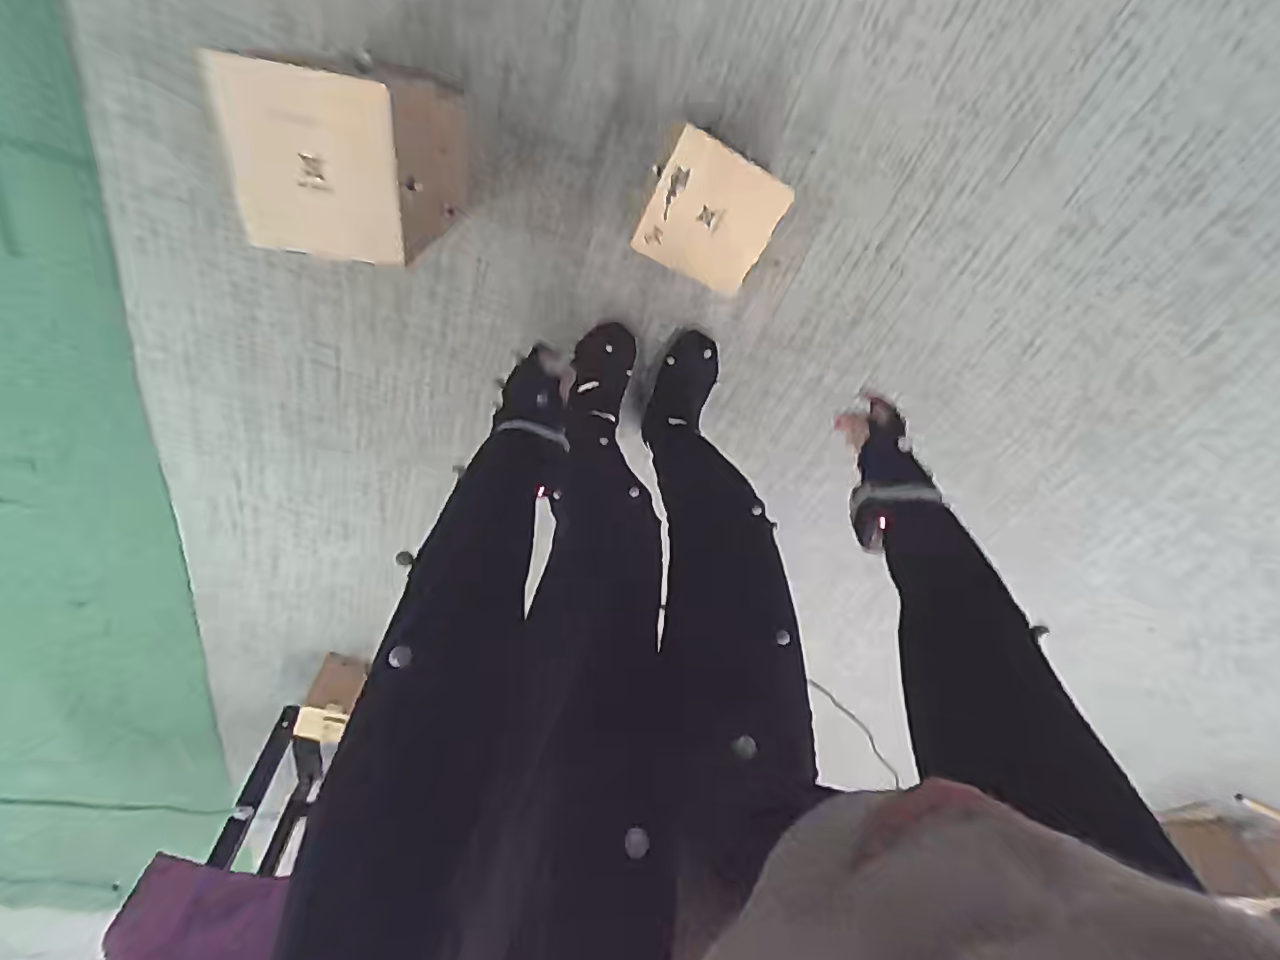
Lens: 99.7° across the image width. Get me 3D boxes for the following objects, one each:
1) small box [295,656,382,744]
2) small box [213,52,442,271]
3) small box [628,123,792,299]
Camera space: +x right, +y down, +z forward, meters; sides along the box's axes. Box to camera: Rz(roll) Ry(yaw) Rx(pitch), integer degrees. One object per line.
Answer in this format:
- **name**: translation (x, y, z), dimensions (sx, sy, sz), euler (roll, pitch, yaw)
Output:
- **small box**: translation (-0.887, 0.649, 1.604), dimensions (0.168, 0.176, 0.179), euler (23, 124, -18)
- **small box**: translation (-0.334, -0.367, 0.625), dimensions (0.168, 0.176, 0.179), euler (7, 126, -8)
- **small box**: translation (0.094, -0.409, 0.814), dimensions (0.179, 0.176, 0.168), euler (21, 124, -18)
